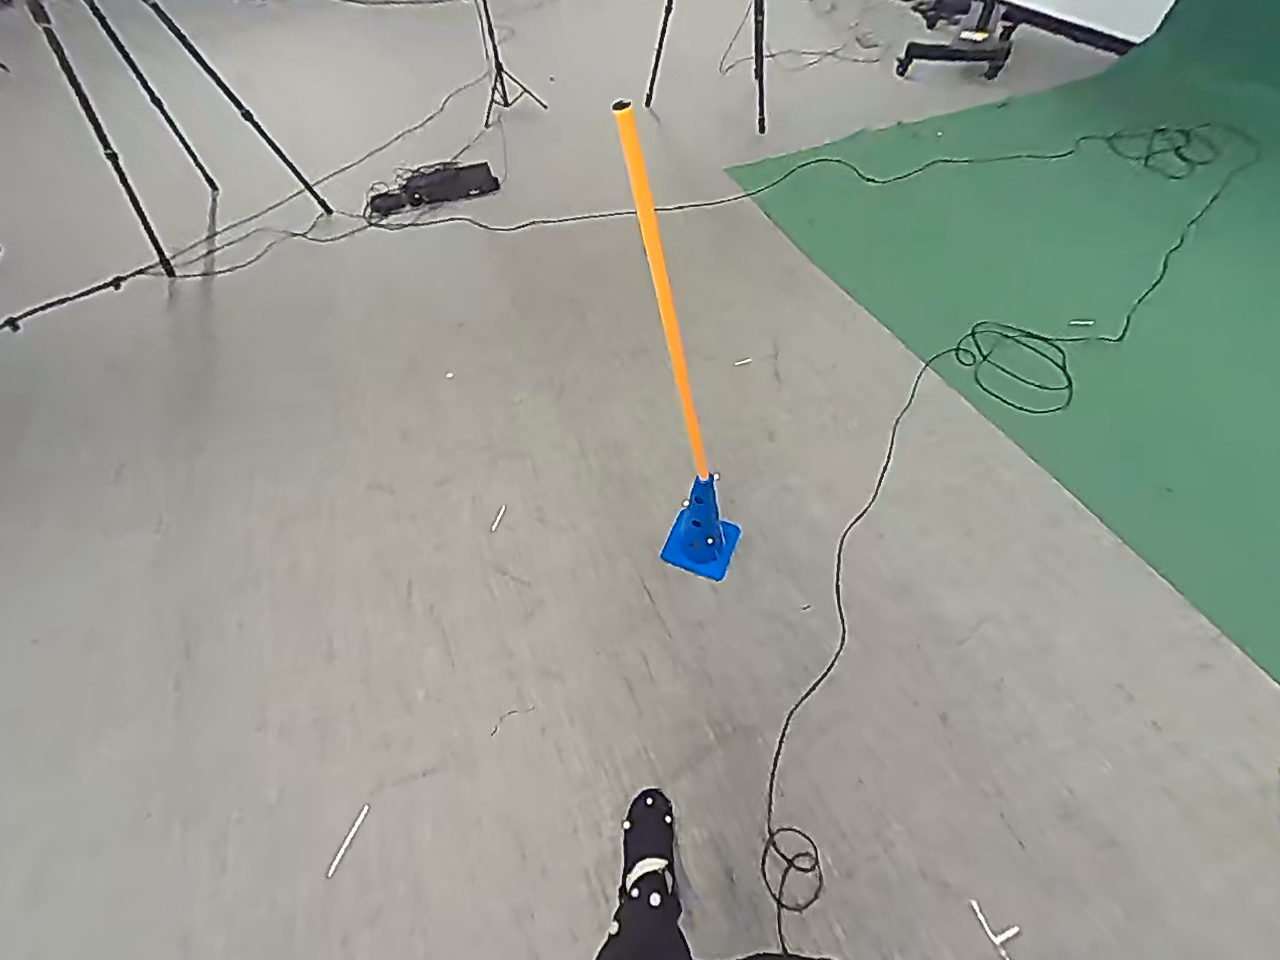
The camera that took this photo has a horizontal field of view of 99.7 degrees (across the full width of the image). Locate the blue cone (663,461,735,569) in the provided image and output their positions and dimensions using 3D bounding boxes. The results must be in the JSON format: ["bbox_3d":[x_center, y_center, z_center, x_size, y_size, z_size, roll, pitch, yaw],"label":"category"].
[{"bbox_3d":[0.162,0.078,1.480,0.193,0.380,0.192,16,59,16],"label":"blue cone"}]
